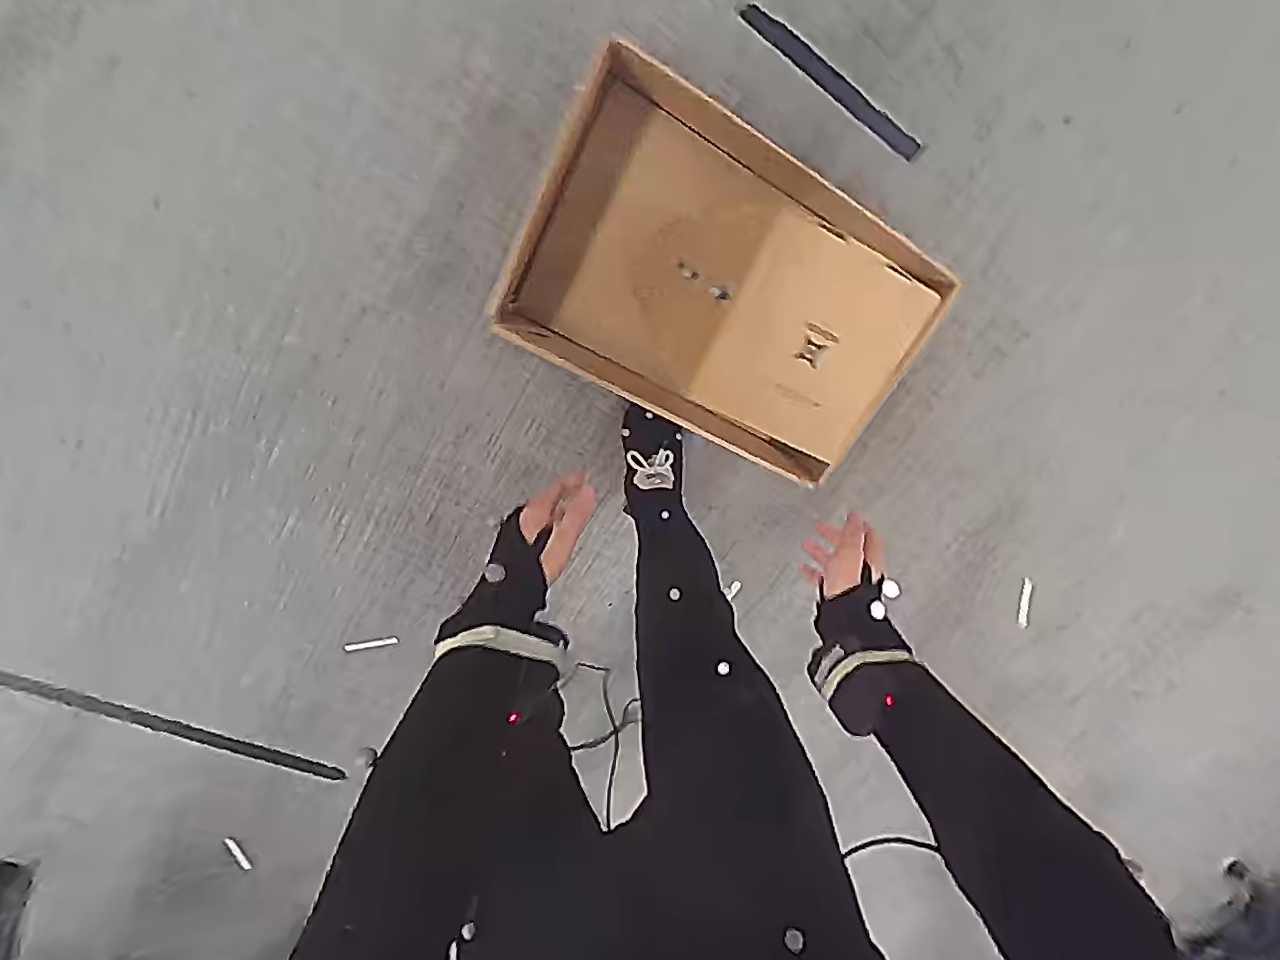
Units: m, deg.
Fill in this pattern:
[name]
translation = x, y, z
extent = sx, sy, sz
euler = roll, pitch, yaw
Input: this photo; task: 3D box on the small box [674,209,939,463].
[small box]
translation = 0.148, -0.151, 0.555
extent = 0.168, 0.176, 0.179
euler = 23, 111, -15
